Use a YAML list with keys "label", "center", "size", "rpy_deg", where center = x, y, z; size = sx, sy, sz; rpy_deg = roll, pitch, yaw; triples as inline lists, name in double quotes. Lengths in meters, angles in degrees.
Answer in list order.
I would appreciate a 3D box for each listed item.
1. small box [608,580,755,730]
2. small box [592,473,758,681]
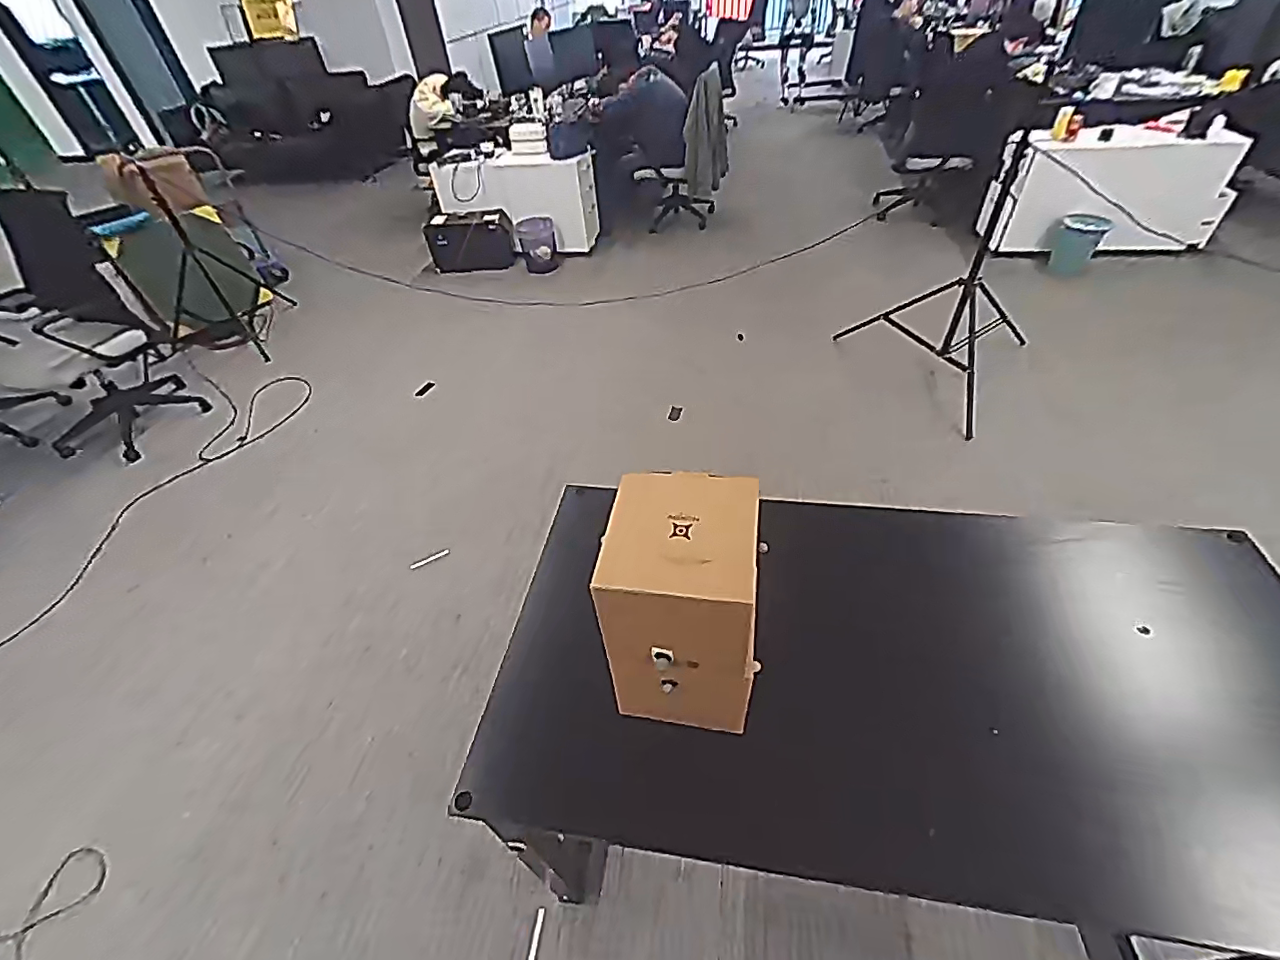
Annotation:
- label: "small box"
  center: [0.064, 0.230, 0.762]
  size: [0.179, 0.176, 0.168]
  rpy_deg: [5, 45, 10]
- label: "small box"
  center: [0.051, 0.114, 0.650]
  size: [0.168, 0.176, 0.179]
  rpy_deg: [3, 45, 11]
